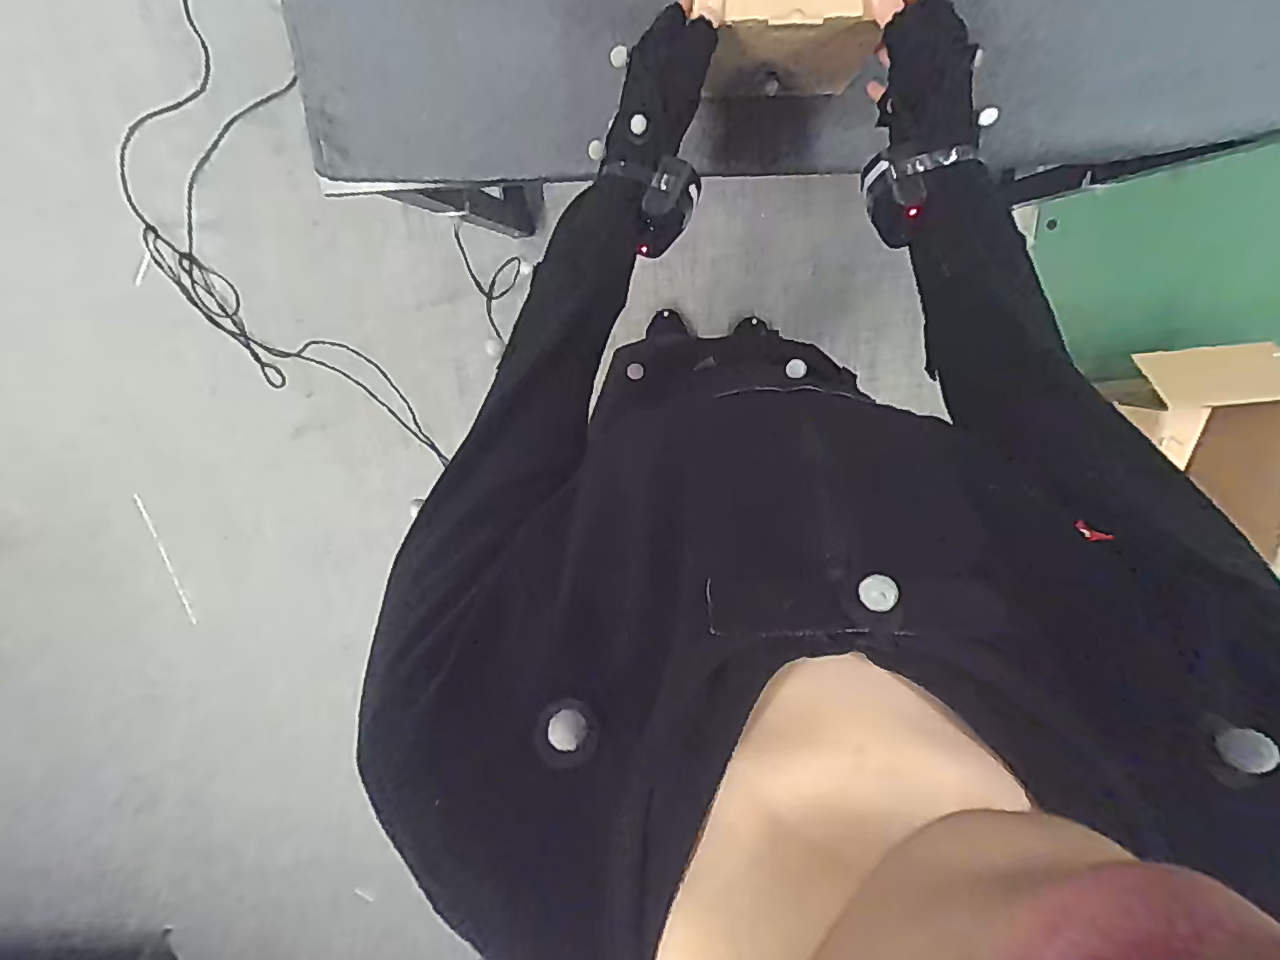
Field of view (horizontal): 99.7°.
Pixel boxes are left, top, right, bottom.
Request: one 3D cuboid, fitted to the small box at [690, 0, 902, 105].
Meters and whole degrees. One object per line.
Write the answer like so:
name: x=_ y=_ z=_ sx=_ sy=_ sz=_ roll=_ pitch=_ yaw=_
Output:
small box: x=0.132 y=-0.470 z=0.490 sx=0.168 sy=0.176 sz=0.179 roll=1 pitch=109 yaw=4
